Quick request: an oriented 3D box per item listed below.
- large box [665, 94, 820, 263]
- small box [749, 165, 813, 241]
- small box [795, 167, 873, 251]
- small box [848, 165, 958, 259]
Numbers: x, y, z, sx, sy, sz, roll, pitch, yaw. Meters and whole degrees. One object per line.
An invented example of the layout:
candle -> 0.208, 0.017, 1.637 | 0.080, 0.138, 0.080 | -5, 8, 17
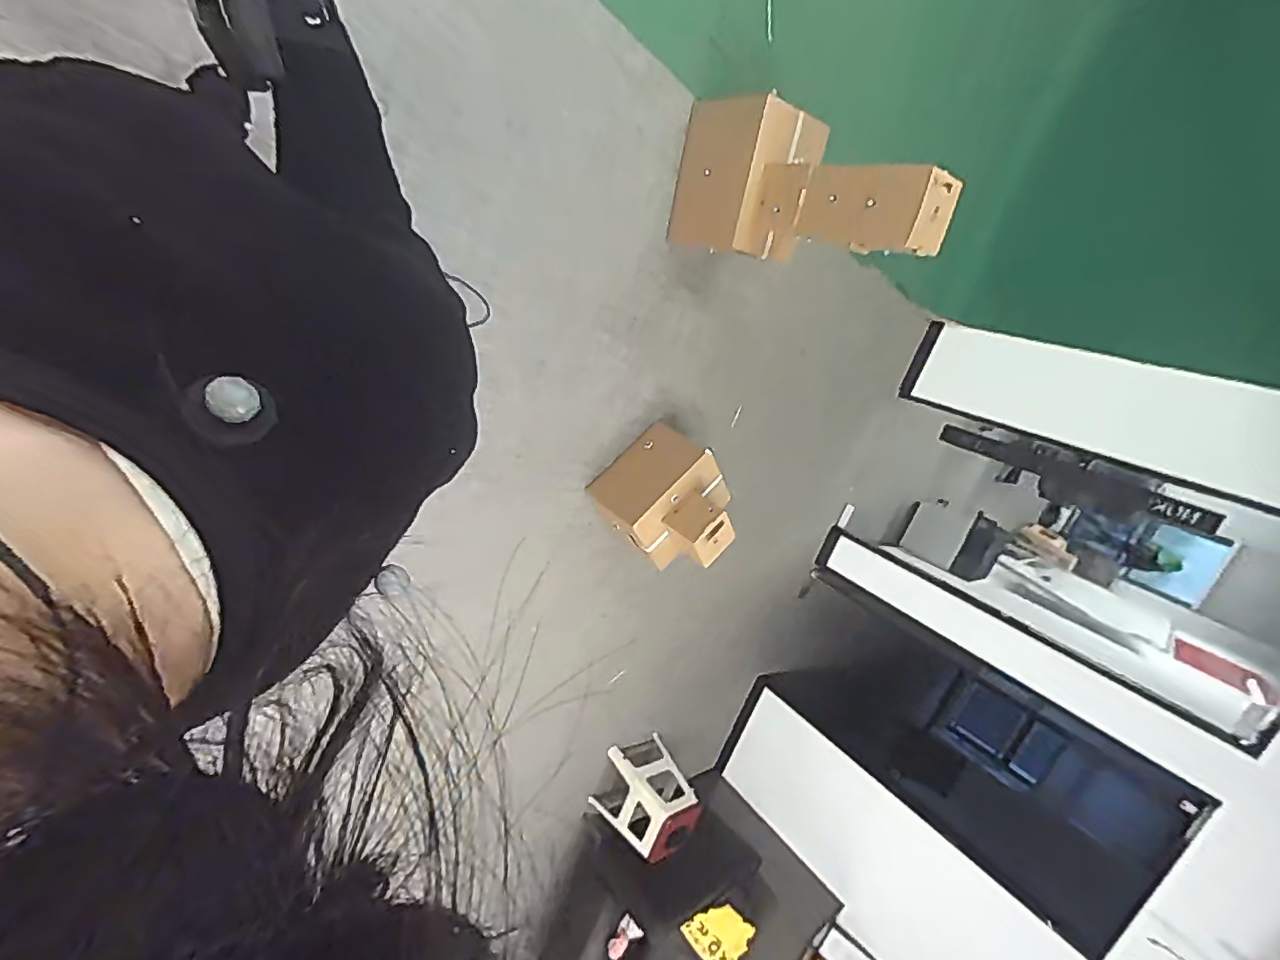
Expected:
large box -> 0.316, -0.946, 1.747 | 0.320, 0.320, 0.408 | -8, 117, -41
small box -> 0.450, -0.809, 1.589 | 0.179, 0.176, 0.168 | -7, 118, -40
small box -> 0.553, -0.741, 1.481 | 0.168, 0.176, 0.179 | -8, 118, -39
small box -> 0.657, -0.678, 1.370 | 0.168, 0.176, 0.179 | -7, 119, -40
